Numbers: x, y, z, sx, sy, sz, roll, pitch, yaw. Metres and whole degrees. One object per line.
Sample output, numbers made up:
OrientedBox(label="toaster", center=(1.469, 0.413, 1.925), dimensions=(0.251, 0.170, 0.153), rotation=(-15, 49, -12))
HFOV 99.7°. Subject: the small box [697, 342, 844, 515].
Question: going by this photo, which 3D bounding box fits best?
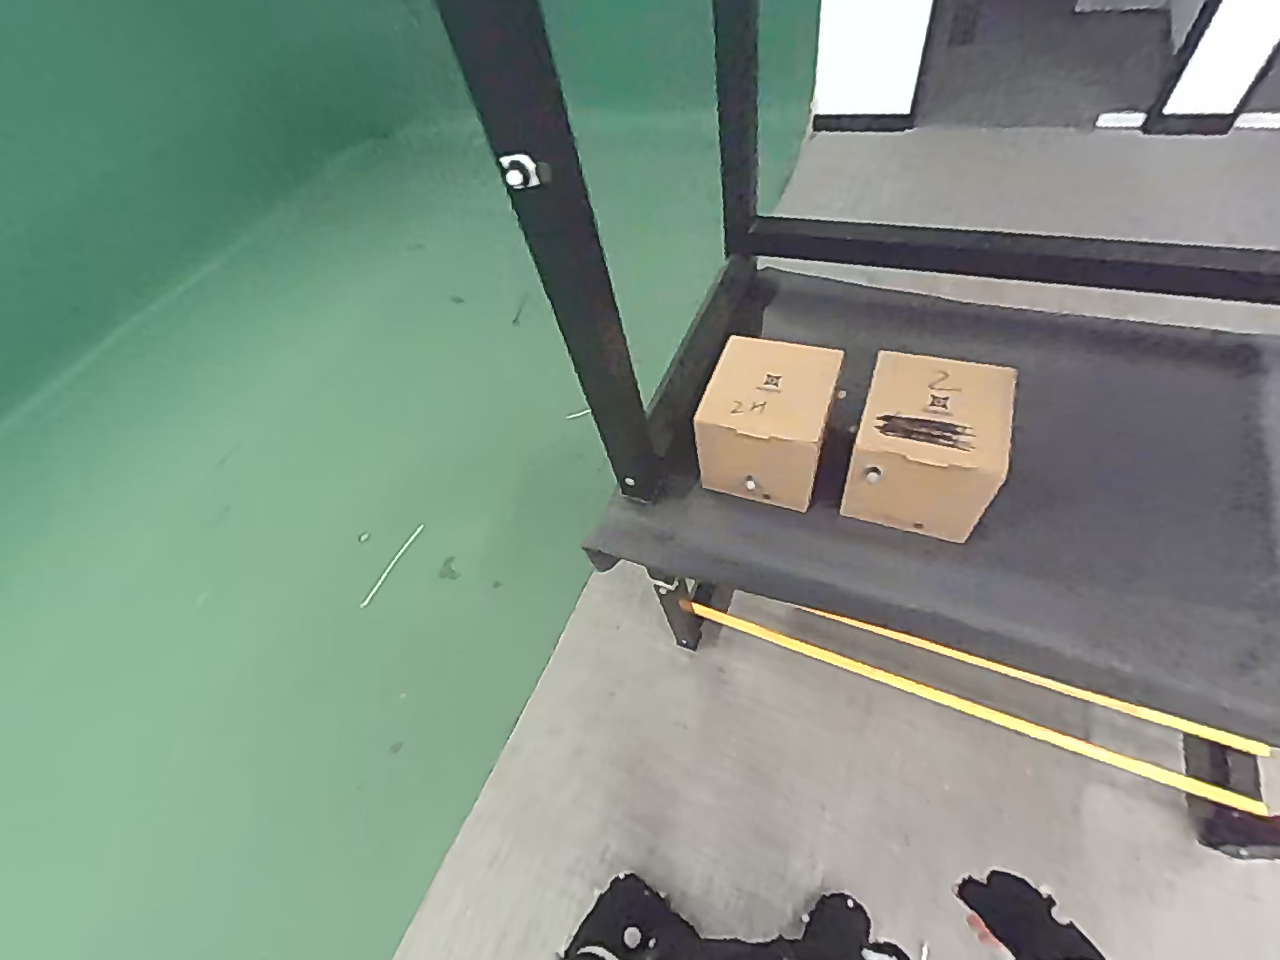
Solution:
OrientedBox(label="small box", center=(0.194, -0.076, 0.811), dimensions=(0.168, 0.176, 0.179), rotation=(14, 59, 20))
